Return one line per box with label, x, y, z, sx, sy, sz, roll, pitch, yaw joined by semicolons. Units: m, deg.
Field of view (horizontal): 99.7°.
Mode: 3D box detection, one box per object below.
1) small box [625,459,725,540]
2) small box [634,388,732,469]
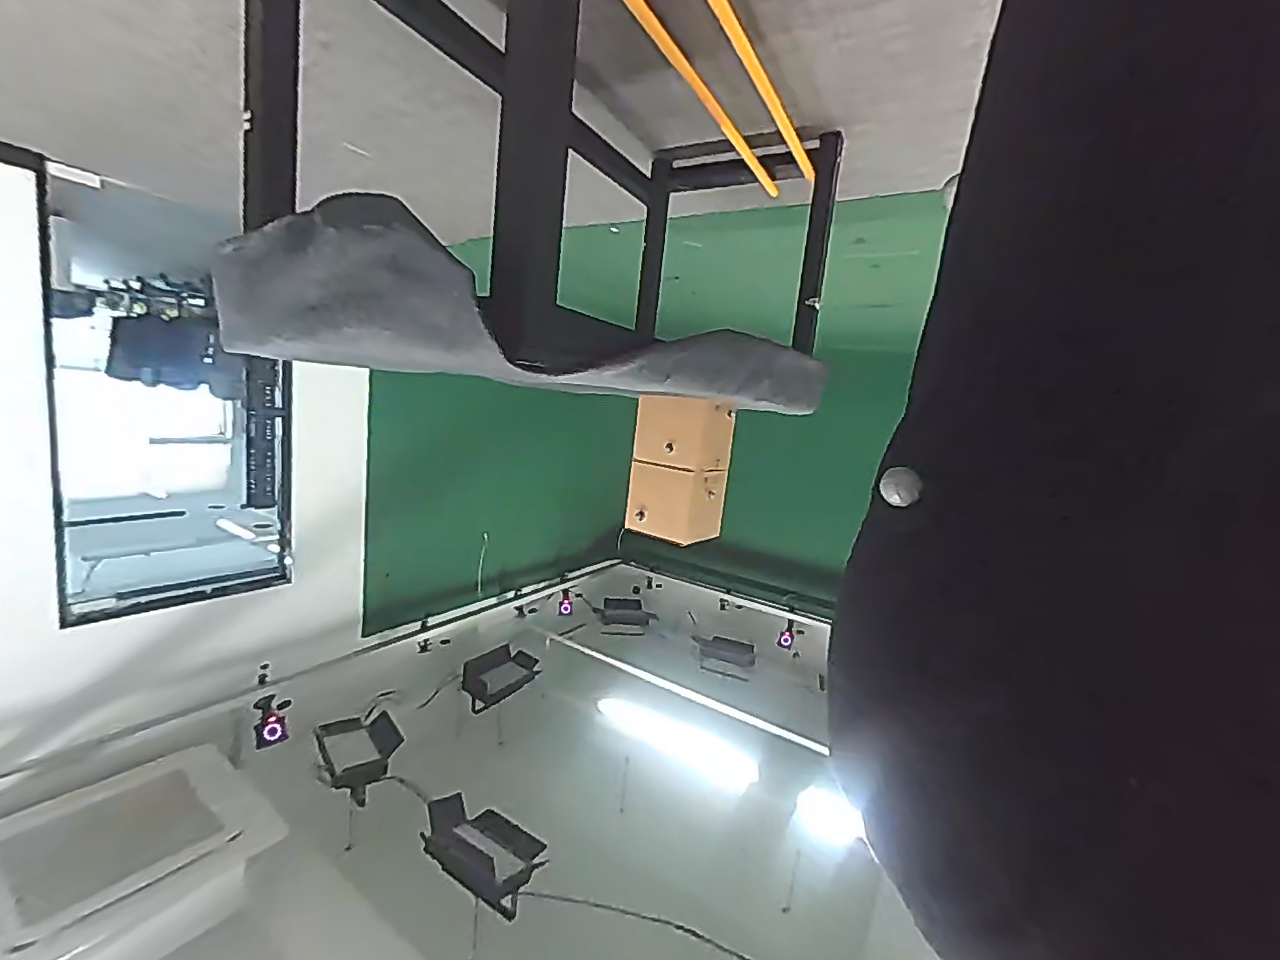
small box;0.087;0.036;1.308;0.179;0.176;0.168;12;-169;36
small box;0.107;-0.126;1.284;0.179;0.176;0.168;13;-170;34
